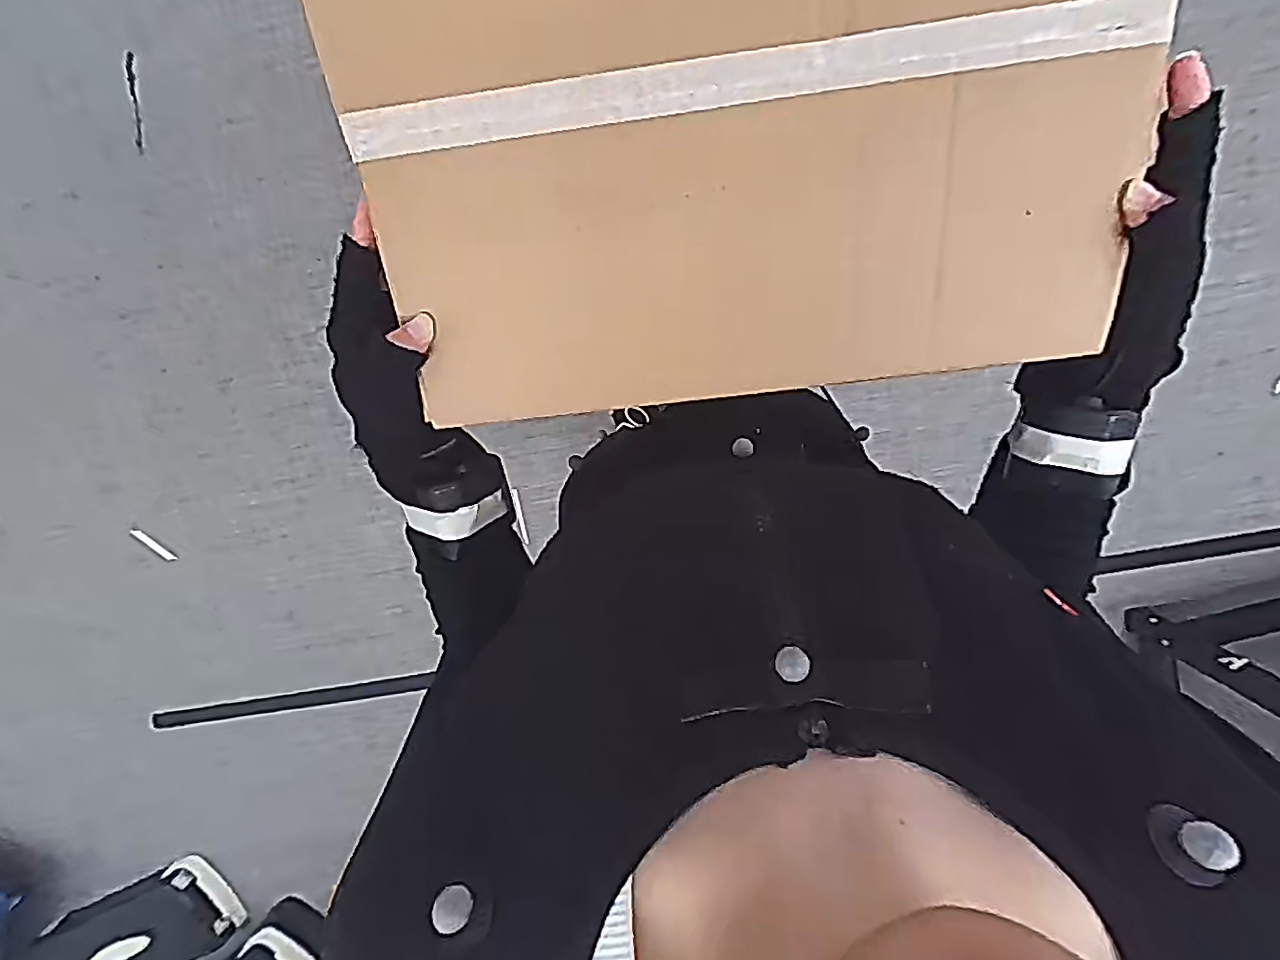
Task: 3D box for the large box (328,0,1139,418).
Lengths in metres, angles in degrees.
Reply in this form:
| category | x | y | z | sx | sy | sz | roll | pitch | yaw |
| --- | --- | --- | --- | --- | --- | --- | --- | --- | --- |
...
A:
| category | x | y | z | sx | sy | sz | roll | pitch | yaw |
| --- | --- | --- | --- | --- | --- | --- | --- | --- | --- |
| large box | 0.049 | -0.259 | 0.419 | 0.408 | 0.320 | 0.320 | -6 | 113 | 3 |
